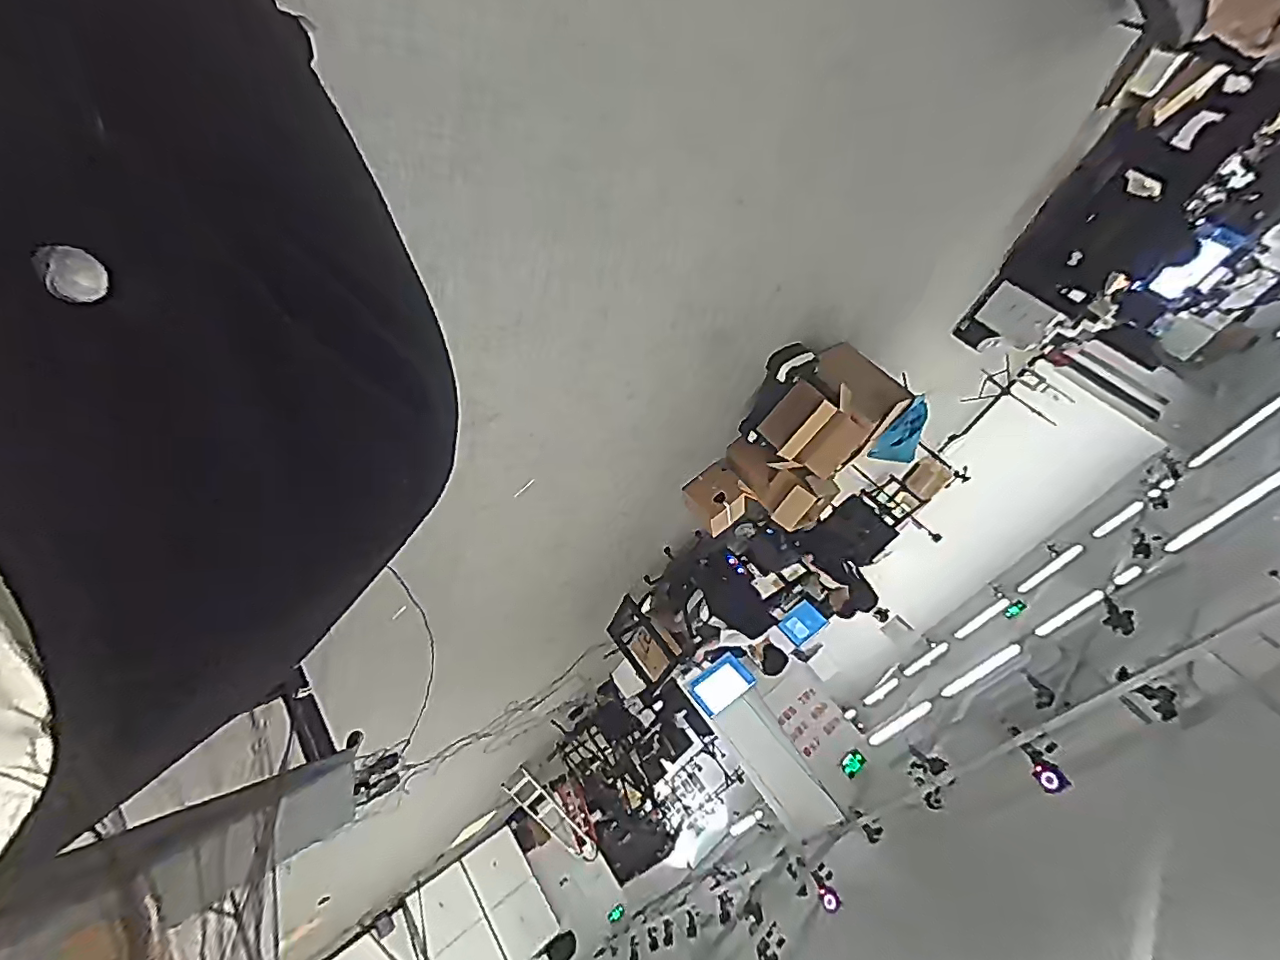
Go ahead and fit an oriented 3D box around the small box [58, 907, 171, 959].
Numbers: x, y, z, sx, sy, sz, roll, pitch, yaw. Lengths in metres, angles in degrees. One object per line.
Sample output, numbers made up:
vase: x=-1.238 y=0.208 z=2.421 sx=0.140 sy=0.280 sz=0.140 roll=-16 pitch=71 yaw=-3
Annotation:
small box: x=-1.347 y=1.257 z=1.395 sx=0.179 sy=0.176 sz=0.168 roll=-18 pitch=145 yaw=-40
